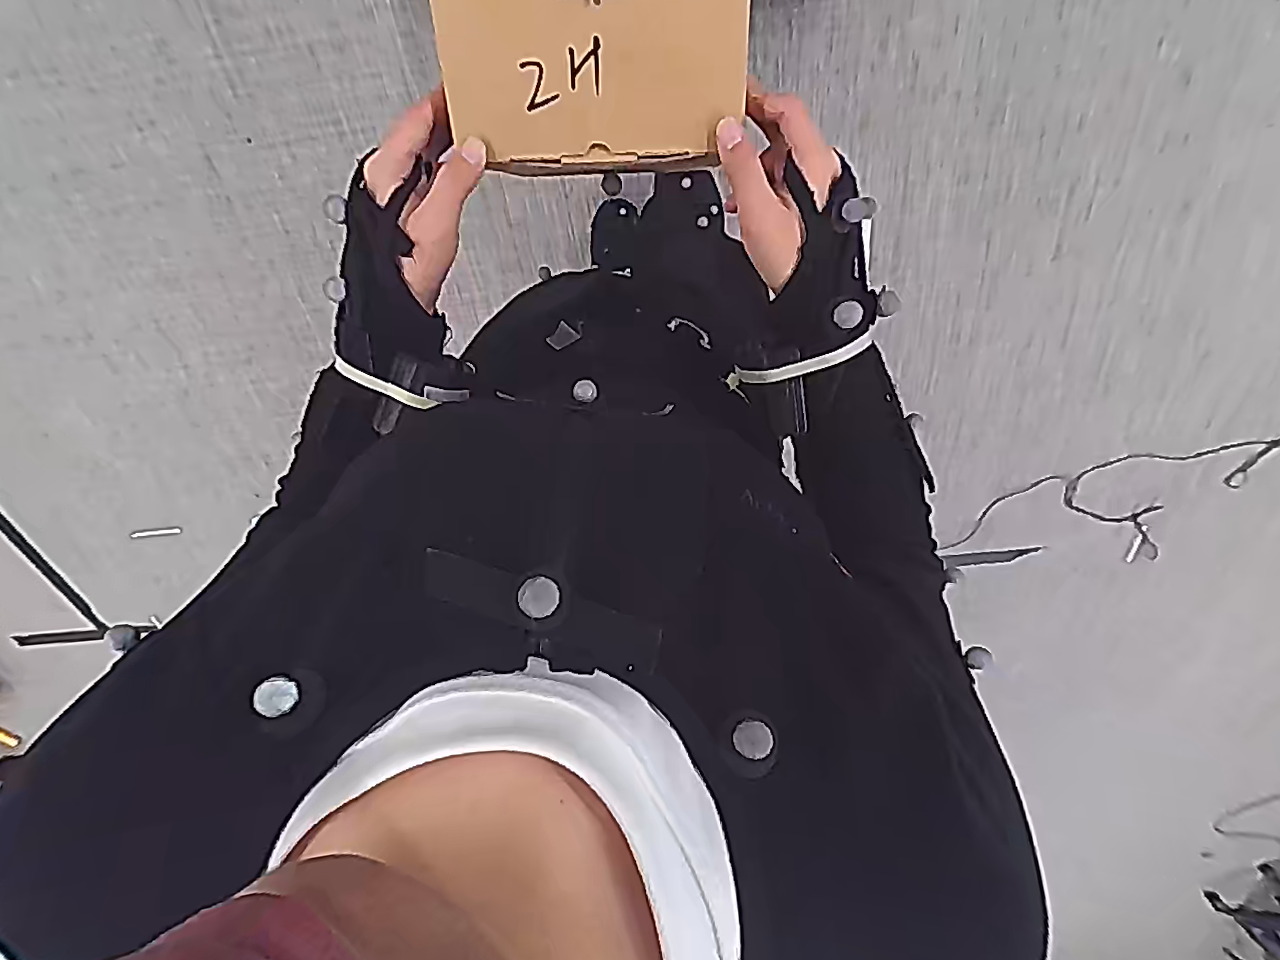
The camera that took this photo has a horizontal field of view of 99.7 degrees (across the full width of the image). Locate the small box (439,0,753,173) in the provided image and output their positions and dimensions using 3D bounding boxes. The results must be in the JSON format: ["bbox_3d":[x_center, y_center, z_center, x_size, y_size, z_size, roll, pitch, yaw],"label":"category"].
[{"bbox_3d":[-0.022,-0.302,0.341,0.168,0.176,0.179,0,116,2],"label":"small box"}]
